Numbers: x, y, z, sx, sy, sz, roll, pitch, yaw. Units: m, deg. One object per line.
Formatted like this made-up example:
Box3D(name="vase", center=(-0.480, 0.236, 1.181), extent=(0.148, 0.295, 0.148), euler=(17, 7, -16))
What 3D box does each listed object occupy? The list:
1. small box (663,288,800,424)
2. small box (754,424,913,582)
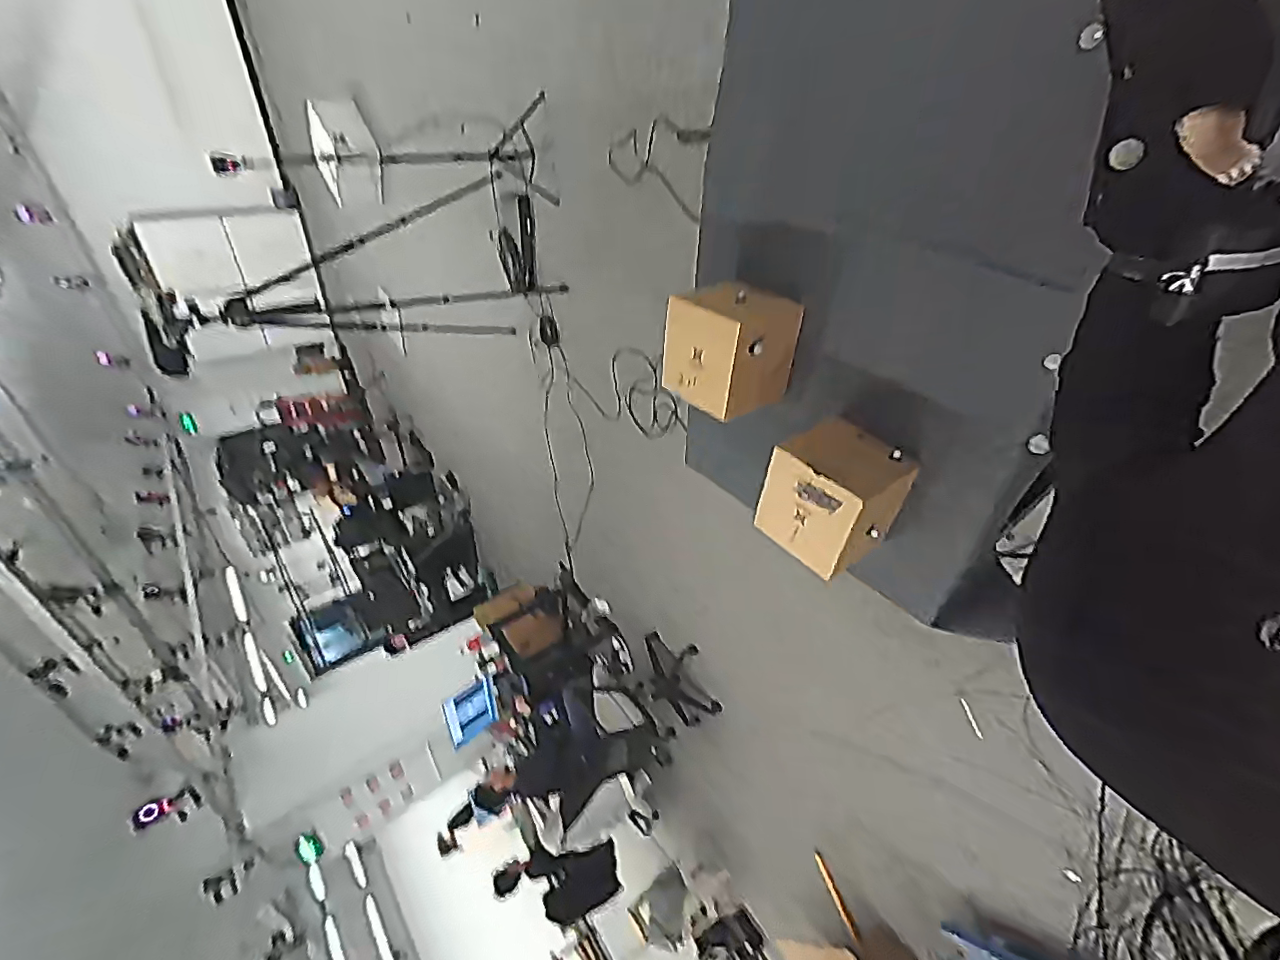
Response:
Box3D(name="small box", center=(0.163, -0.231, 0.971), extent=(0.168, 0.176, 0.179), euler=(37, 138, 37))
Box3D(name="small box", center=(0.324, 0.030, 0.907), extent=(0.168, 0.176, 0.179), euler=(40, 140, 36))
